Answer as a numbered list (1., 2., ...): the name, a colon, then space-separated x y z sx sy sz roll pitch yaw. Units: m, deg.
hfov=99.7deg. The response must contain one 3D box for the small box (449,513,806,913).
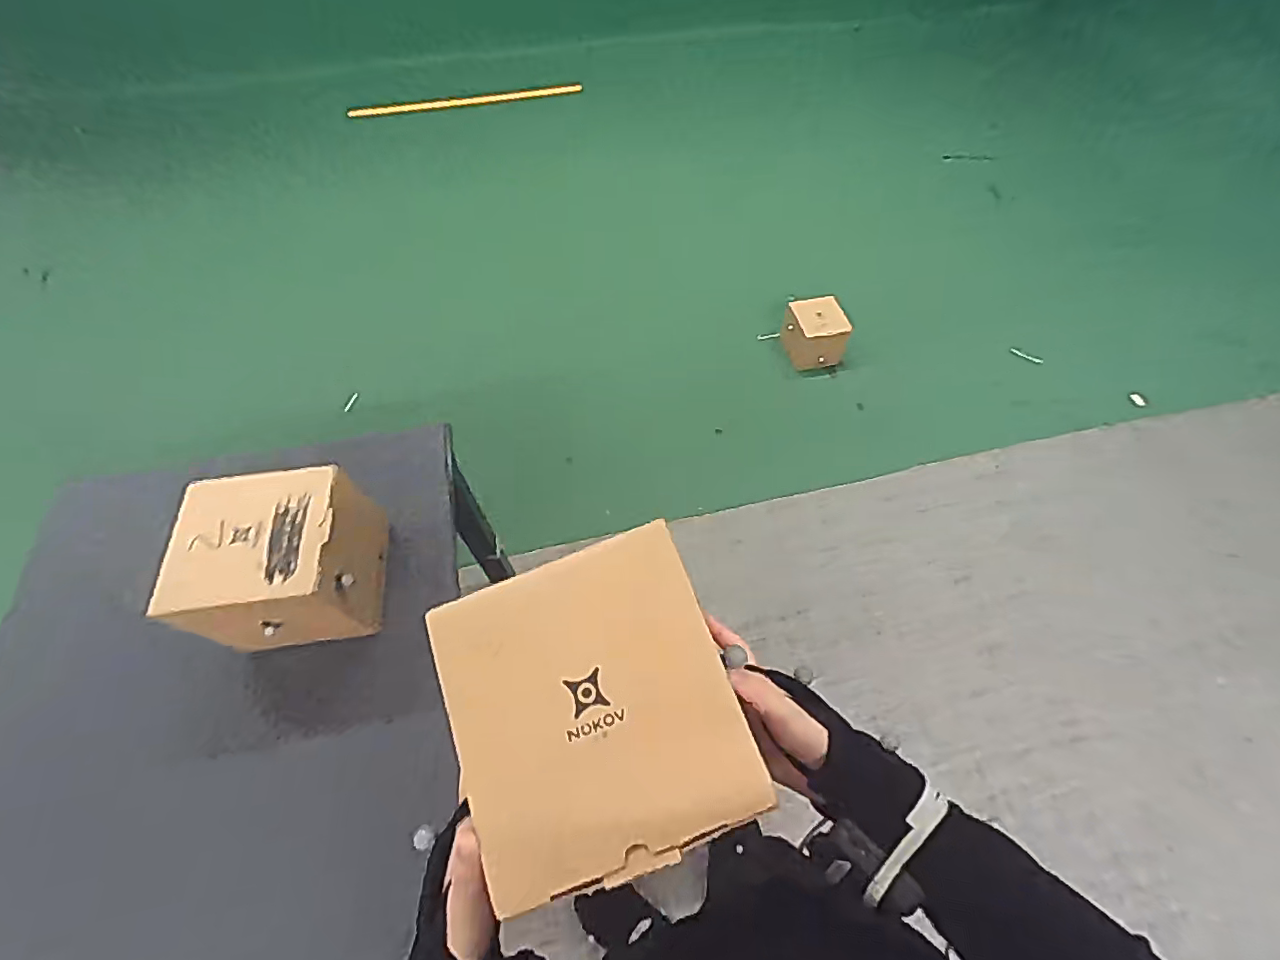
1. small box: -0.010 0.149 0.386 0.168 0.176 0.179 -20 71 -3

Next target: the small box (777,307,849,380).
1. small box: 0.604 -0.482 1.915 0.168 0.176 0.179 -10 59 -7
